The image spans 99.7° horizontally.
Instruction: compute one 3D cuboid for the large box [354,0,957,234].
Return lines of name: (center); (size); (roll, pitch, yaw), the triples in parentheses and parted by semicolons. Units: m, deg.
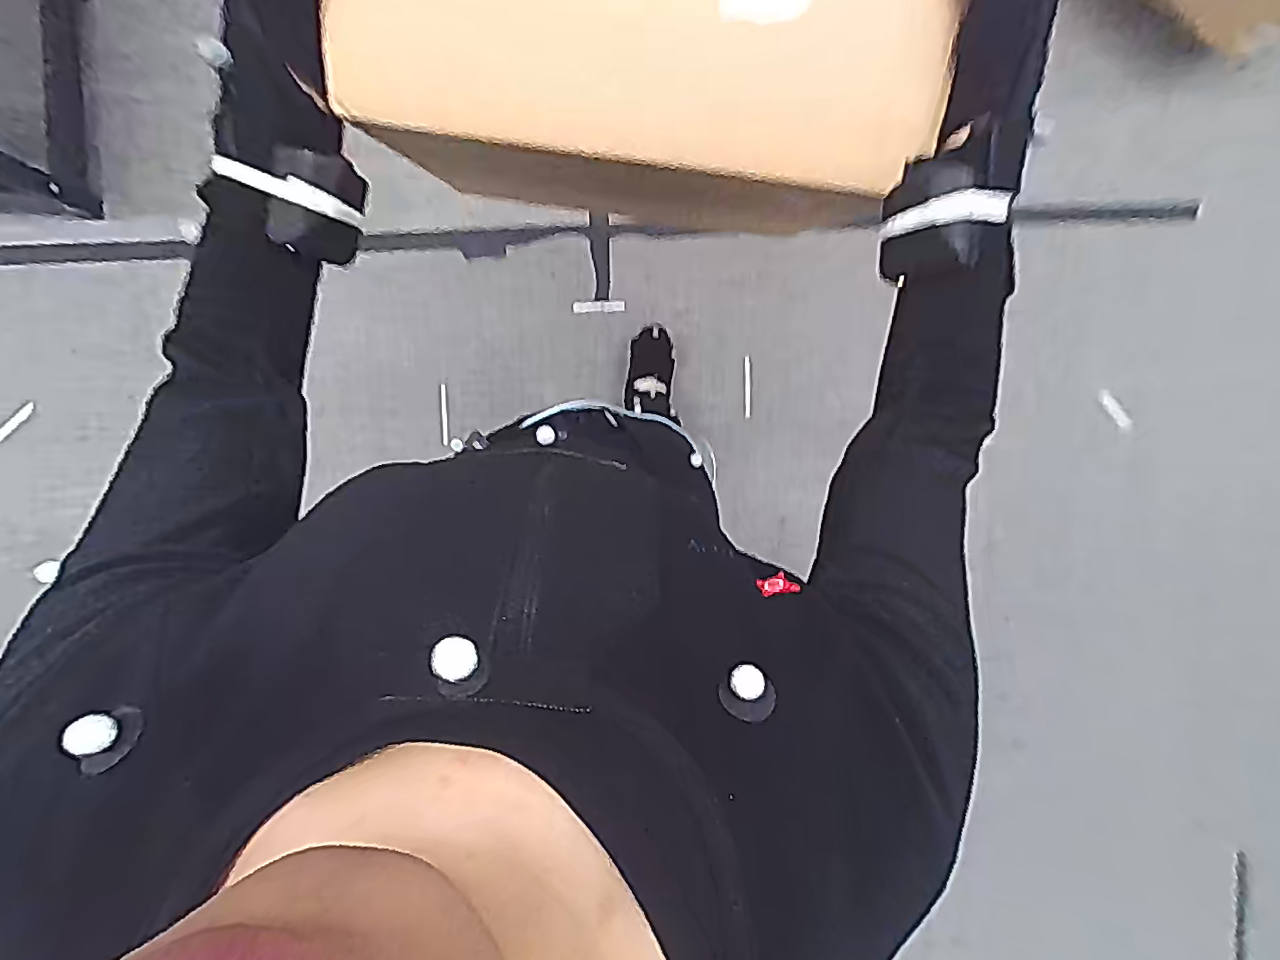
large box: (0.011, -0.420, 0.477); (0.408, 0.320, 0.320); (5, 110, -6)
